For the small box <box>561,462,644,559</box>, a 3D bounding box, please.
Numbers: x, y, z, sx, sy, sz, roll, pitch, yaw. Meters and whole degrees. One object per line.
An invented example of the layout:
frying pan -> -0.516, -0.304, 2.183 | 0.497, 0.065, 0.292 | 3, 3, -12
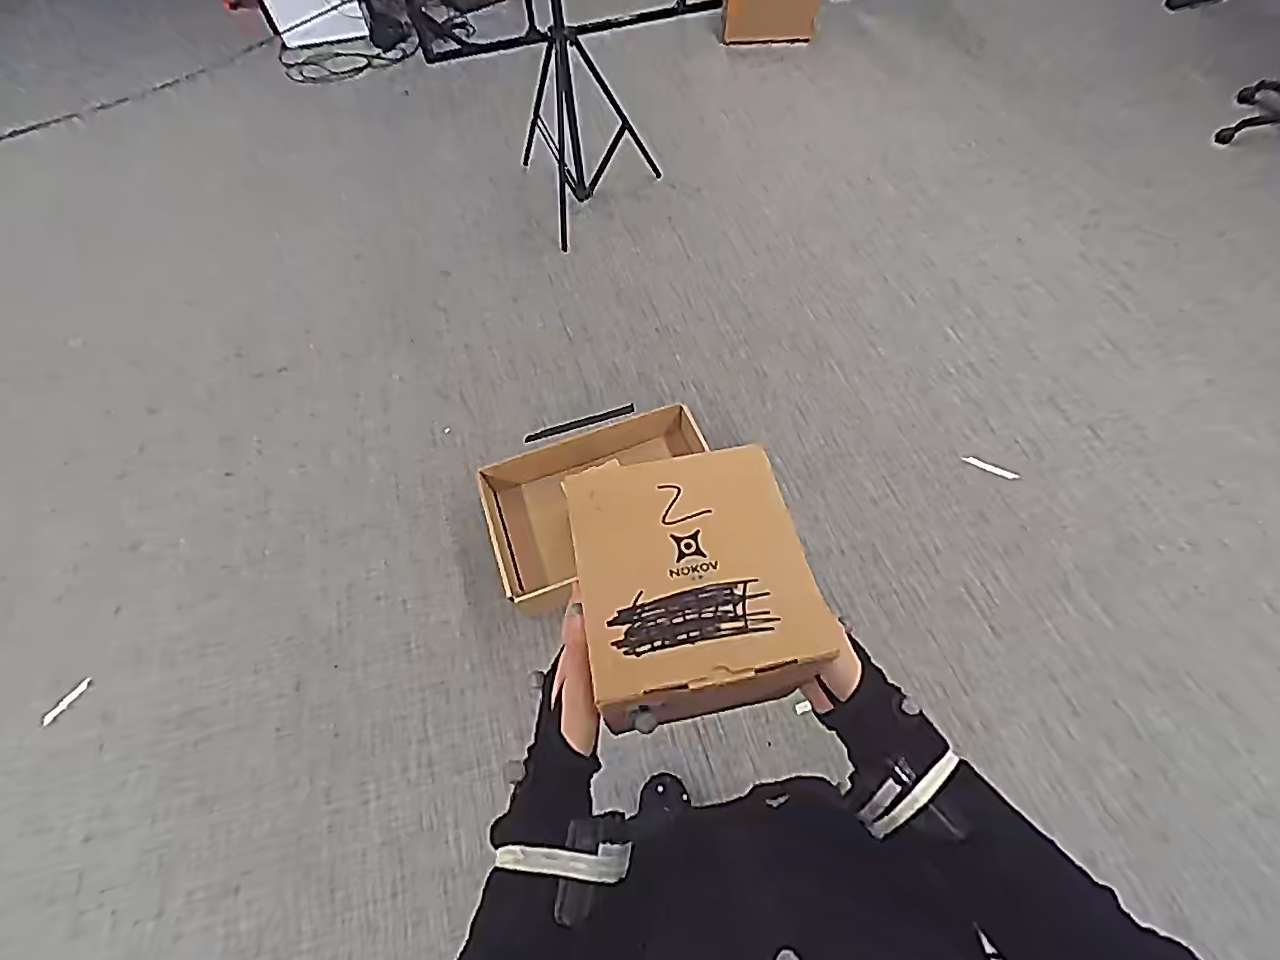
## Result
small box -> -0.099, 0.086, 1.461 | 0.168, 0.176, 0.179 | -24, 64, -10
